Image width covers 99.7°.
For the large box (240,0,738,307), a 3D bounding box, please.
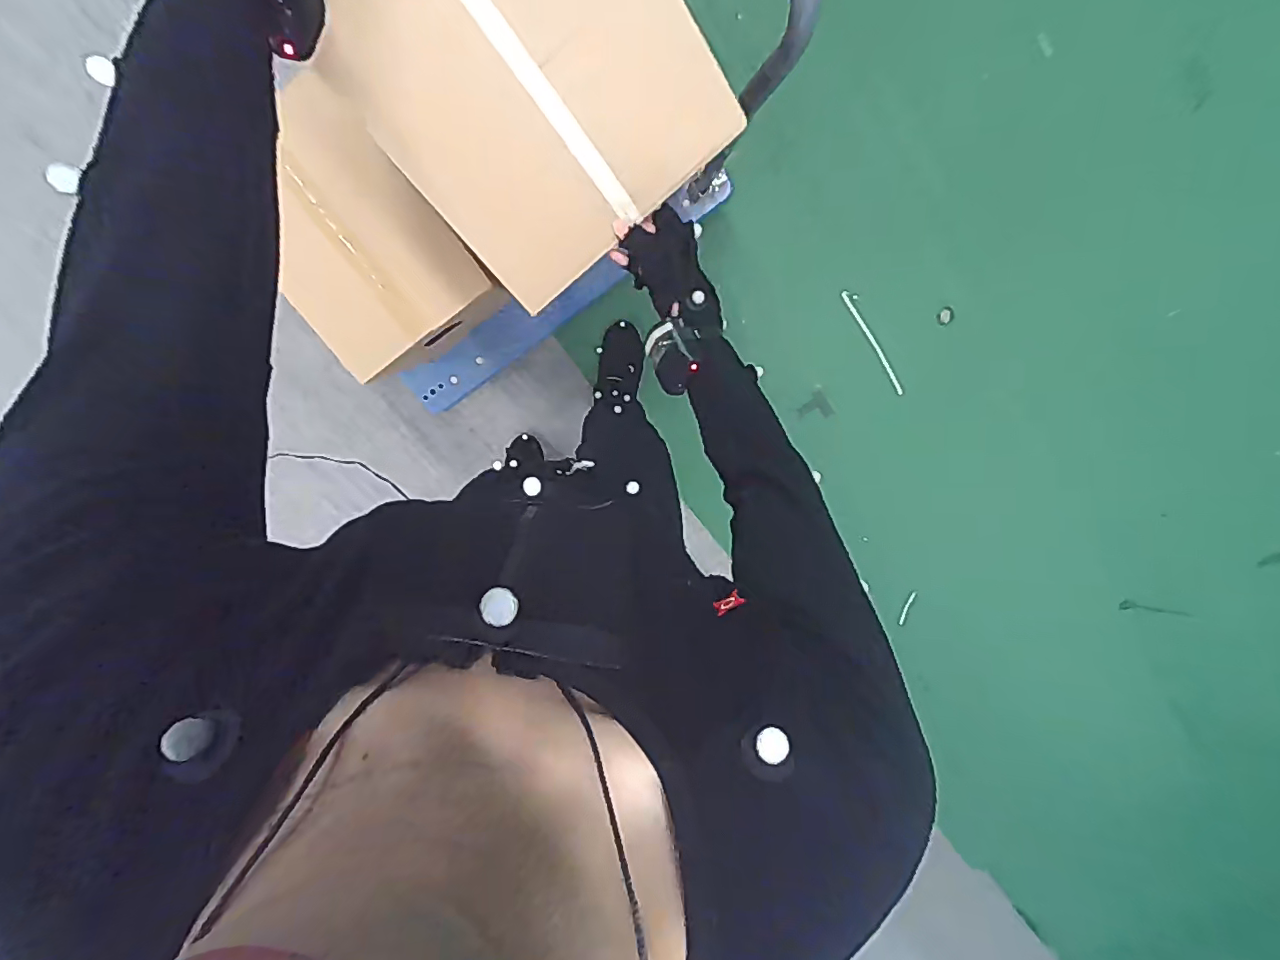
[{"bbox_3d":[-0.151,-0.484,0.632,0.320,0.320,0.408,-37,118,13],"label":"large box"}]
